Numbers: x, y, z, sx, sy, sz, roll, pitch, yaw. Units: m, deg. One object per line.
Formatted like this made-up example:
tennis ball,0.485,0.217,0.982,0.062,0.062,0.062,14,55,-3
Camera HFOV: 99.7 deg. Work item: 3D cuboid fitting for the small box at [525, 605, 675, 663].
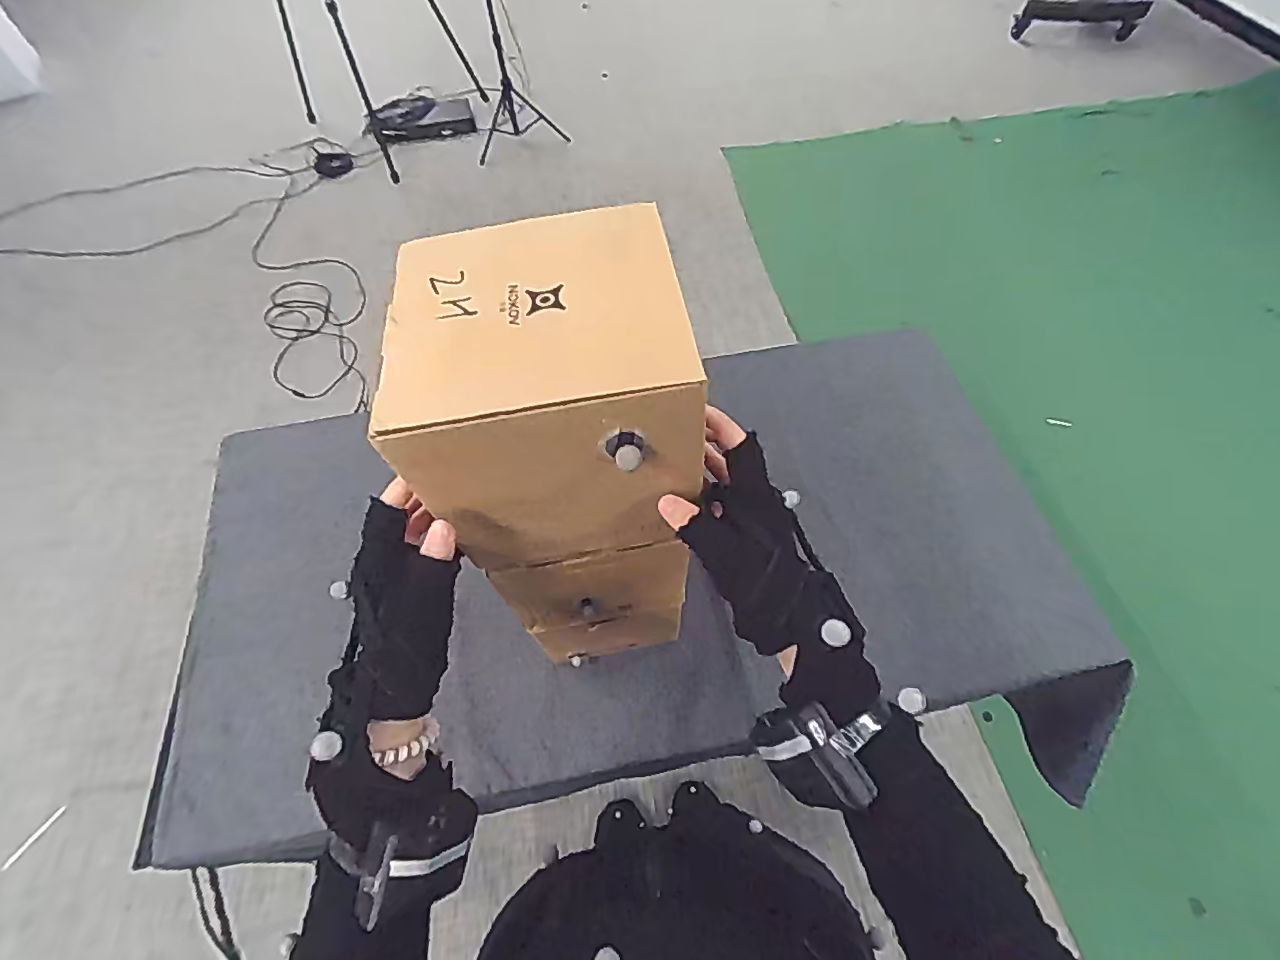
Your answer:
small box,-0.052,0.122,0.686,0.168,0.176,0.179,-10,58,-4

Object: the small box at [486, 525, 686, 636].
small box,-0.056,0.038,0.546,0.168,0.176,0.179,-10,60,-4

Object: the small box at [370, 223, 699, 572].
small box,-0.058,-0.050,0.390,0.179,0.176,0.168,-10,56,0
